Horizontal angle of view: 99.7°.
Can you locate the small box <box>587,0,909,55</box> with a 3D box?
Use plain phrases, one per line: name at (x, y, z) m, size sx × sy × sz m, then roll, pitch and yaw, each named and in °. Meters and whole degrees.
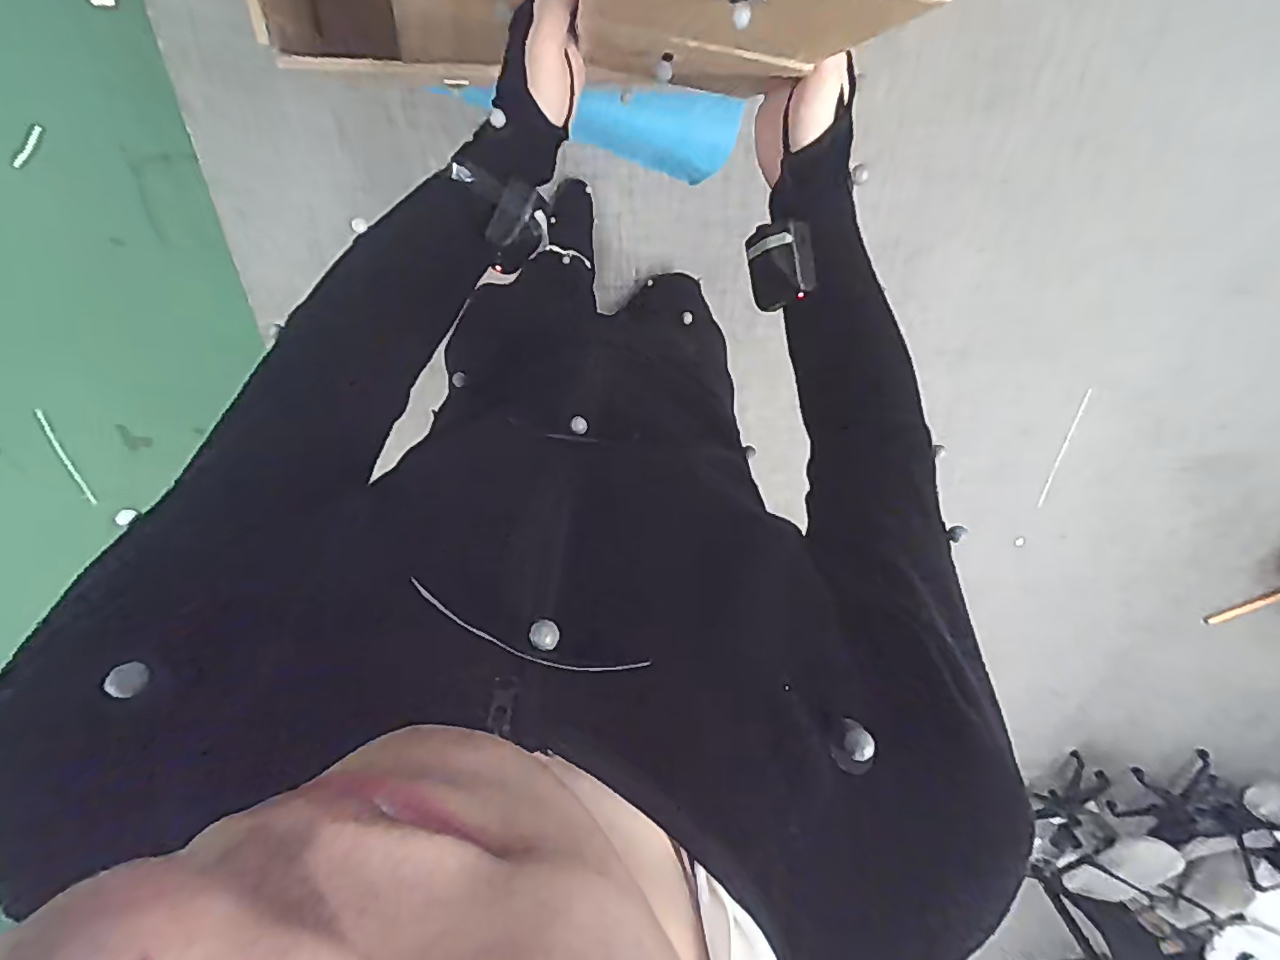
small box at (0.061, -0.344, 0.277) m, size 0.179 × 0.176 × 0.168 m, roll 4°, pitch 119°, yaw -8°
